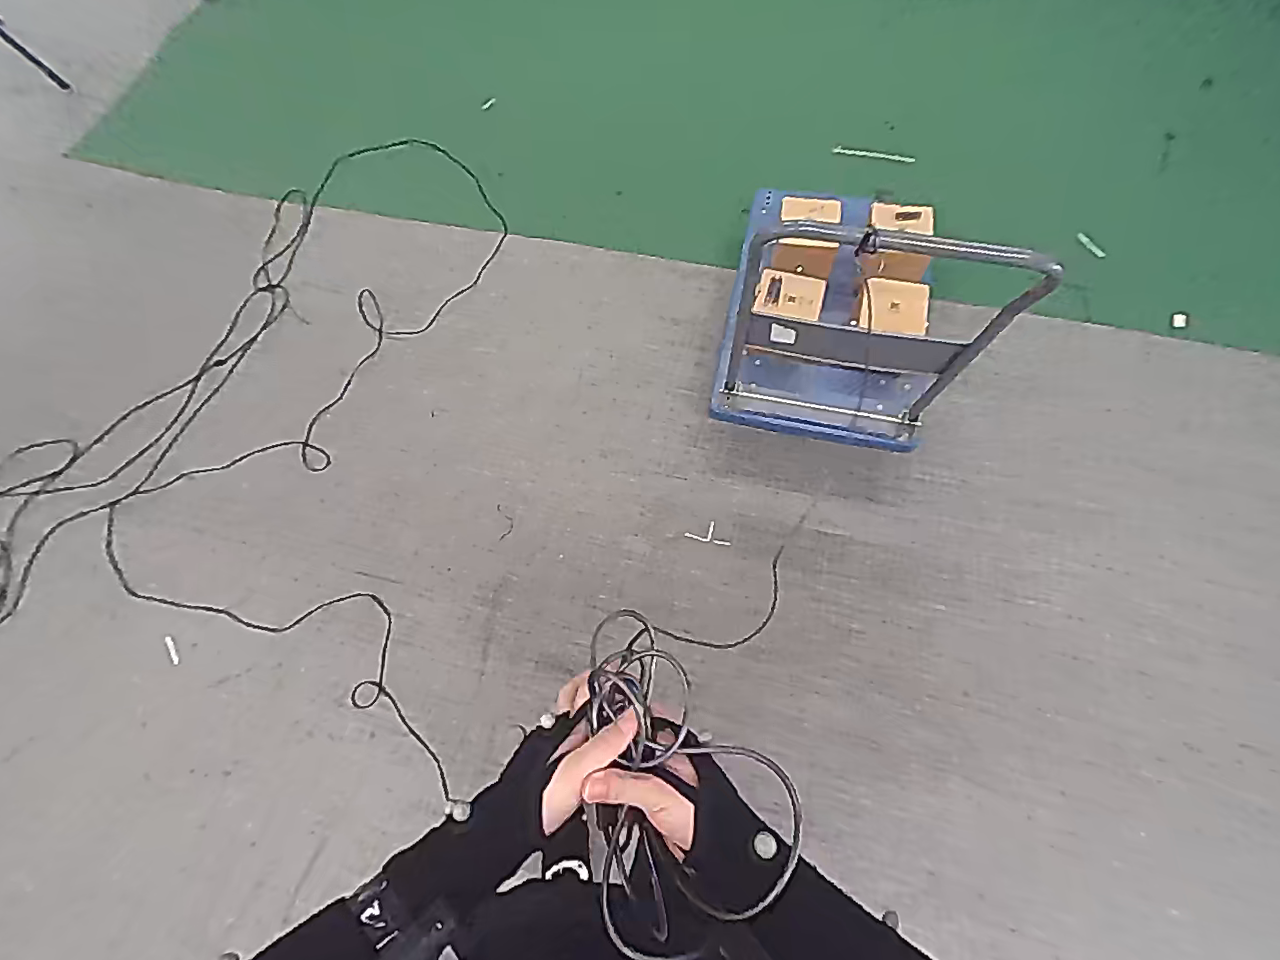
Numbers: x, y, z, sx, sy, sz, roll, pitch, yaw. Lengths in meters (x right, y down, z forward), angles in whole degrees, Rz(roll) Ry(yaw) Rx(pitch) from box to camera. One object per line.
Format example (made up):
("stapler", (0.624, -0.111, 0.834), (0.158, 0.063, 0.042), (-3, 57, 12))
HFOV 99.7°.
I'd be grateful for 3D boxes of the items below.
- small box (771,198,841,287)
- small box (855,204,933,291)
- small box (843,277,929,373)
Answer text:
("small box", (0.490, -0.704, 1.613), (0.168, 0.176, 0.179), (9, 70, 6))
("small box", (0.738, -0.670, 1.582), (0.168, 0.176, 0.179), (8, 71, 8))
("small box", (0.673, -0.424, 1.493), (0.168, 0.176, 0.179), (13, 71, 8))
